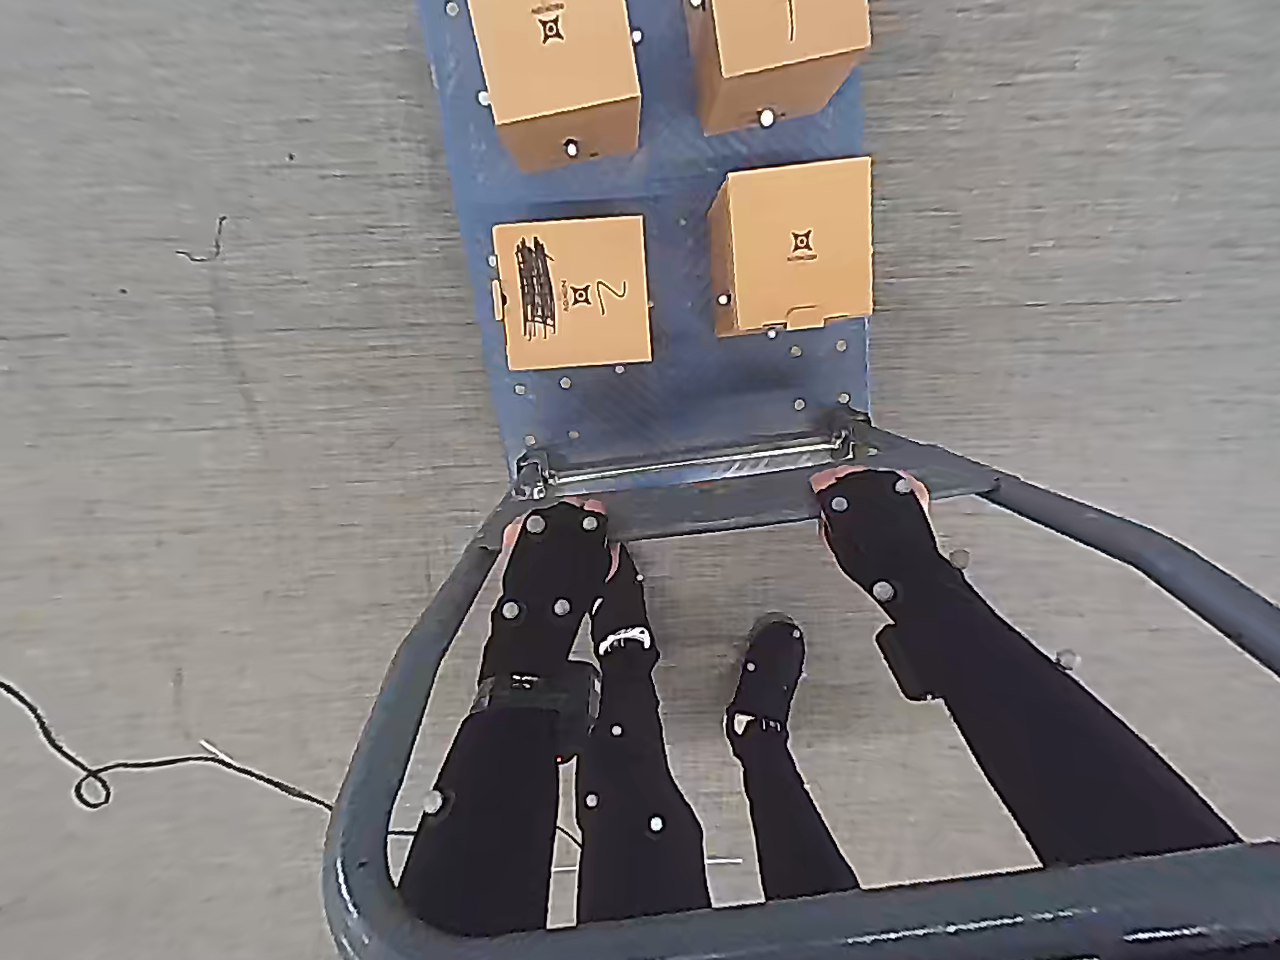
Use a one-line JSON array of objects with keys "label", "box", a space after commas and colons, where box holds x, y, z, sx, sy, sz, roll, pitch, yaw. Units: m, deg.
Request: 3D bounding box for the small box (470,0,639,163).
[{"label": "small box", "box": [-0.095, -0.505, 0.649, 0.168, 0.176, 0.179, -11, 103, 1]}]

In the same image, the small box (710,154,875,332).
[{"label": "small box", "box": [0.189, -0.293, 0.704, 0.168, 0.176, 0.179, -6, 104, 1]}]

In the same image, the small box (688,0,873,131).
[{"label": "small box", "box": [0.154, -0.554, 0.641, 0.168, 0.176, 0.179, -11, 104, 2]}]
